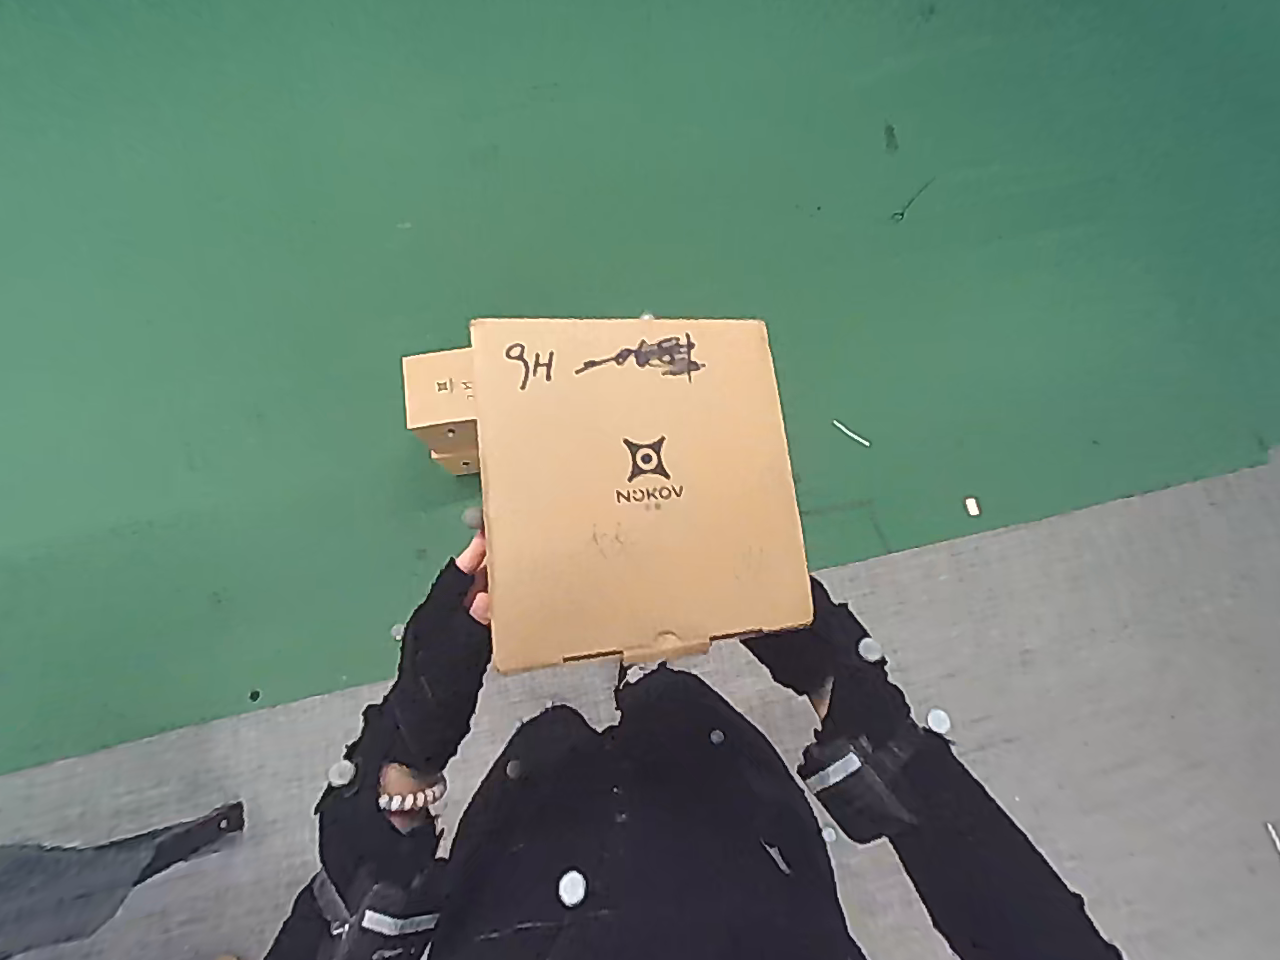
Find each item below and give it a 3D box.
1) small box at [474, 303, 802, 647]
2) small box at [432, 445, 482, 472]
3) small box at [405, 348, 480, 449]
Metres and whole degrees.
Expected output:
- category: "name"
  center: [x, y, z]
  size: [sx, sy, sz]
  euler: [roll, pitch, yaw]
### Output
- category: "small box"
  center: [-0.017, 0.002, 0.362]
  size: [0.168, 0.176, 0.179]
  euler: [-4, 81, -15]
- category: "small box"
  center: [-0.419, -0.124, 1.371]
  size: [0.168, 0.176, 0.179]
  euler: [-8, 75, -4]
- category: "small box"
  center: [-0.407, -0.177, 1.215]
  size: [0.179, 0.176, 0.168]
  euler: [-8, 76, -5]
